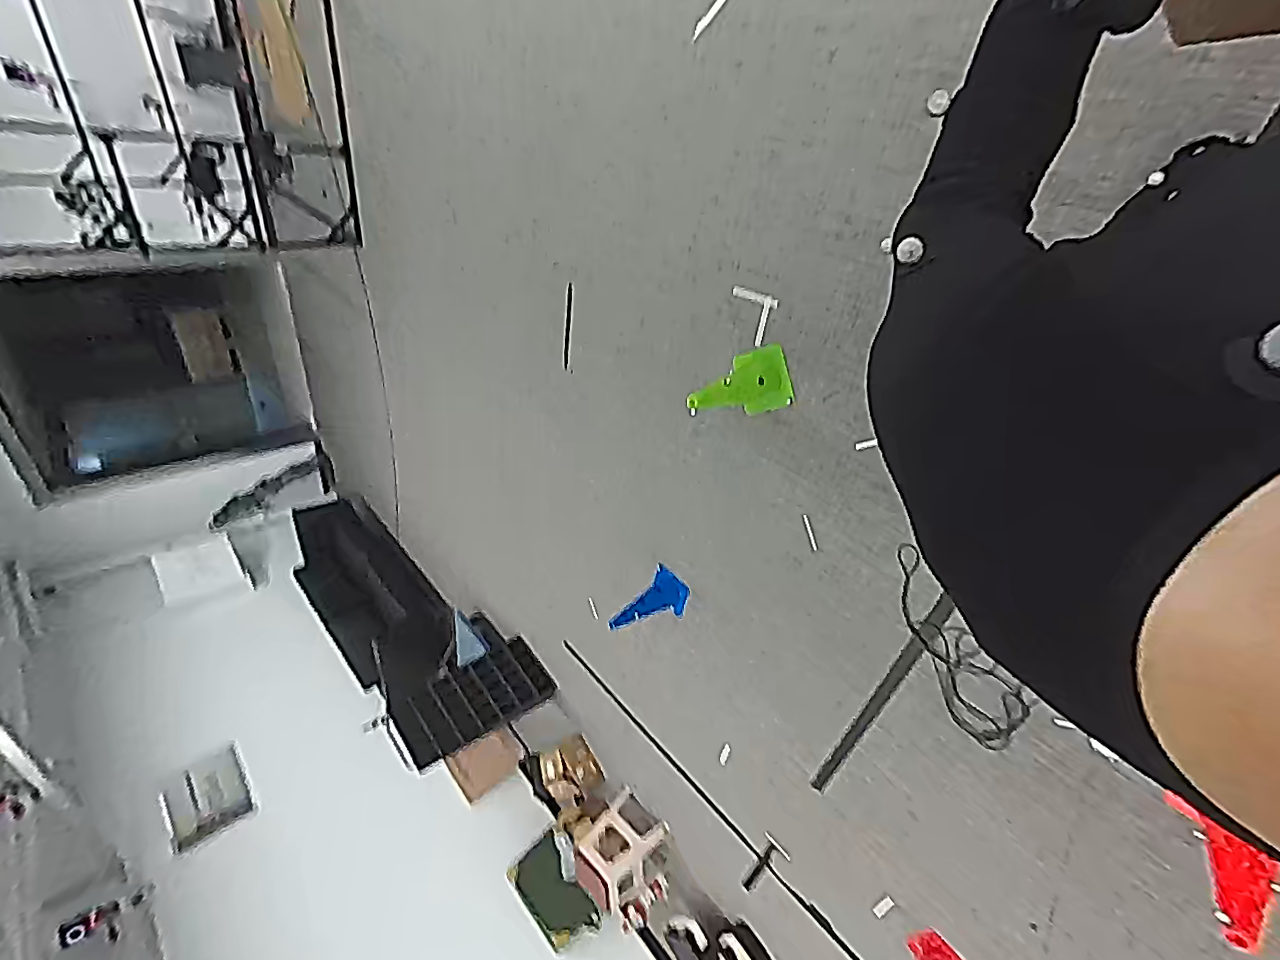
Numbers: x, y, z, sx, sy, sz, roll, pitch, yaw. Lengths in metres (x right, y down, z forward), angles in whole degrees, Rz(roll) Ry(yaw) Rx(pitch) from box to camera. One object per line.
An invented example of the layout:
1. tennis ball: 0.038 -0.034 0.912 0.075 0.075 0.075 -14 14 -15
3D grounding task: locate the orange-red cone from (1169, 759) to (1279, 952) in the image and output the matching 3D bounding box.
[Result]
1. orange-red cone: 1.219 0.781 1.086 0.198 0.360 0.199 34 129 34

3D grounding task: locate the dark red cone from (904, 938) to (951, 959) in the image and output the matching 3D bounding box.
1. dark red cone: 0.960 1.807 1.842 0.201 0.394 0.202 42 135 30

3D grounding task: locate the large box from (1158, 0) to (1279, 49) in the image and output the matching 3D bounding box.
1. large box: 0.545 -0.444 0.236 0.408 0.320 0.320 22 125 38

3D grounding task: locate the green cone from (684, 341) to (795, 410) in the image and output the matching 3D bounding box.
1. green cone: 0.278 -0.288 1.665 0.202 0.368 0.200 -9 100 52

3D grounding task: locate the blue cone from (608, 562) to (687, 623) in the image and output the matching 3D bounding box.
1. blue cone: 0.019 0.540 2.392 0.192 0.380 0.193 40 134 32
